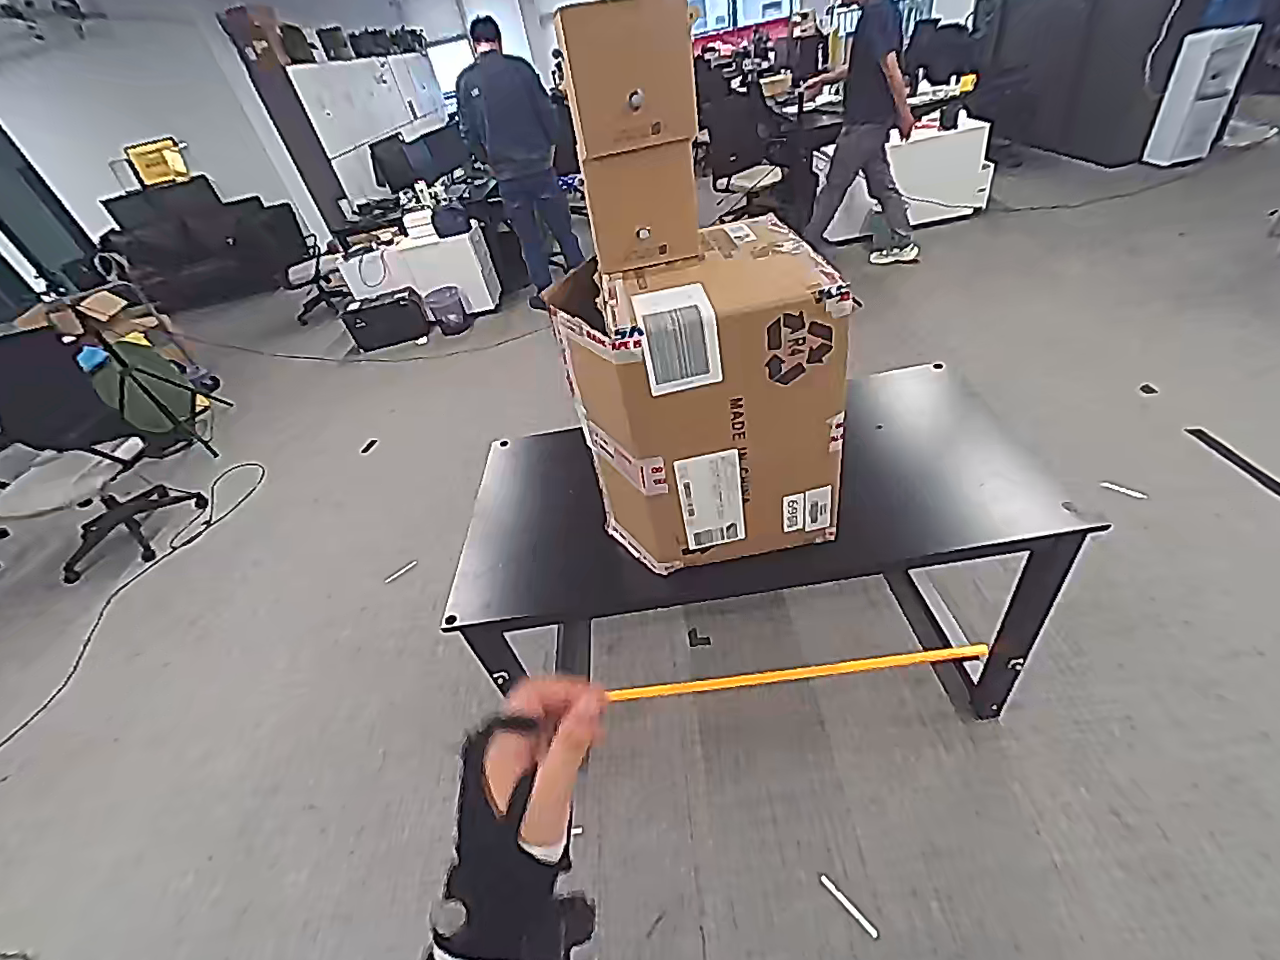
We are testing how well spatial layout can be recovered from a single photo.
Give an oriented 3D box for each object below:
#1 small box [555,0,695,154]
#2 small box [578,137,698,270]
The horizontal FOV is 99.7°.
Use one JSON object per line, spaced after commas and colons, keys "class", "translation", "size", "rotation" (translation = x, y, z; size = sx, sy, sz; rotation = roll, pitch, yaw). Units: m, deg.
{"class": "small box", "translation": [-0.023, -0.589, 0.790], "size": [0.168, 0.176, 0.179], "rotation": [-13, 37, -2]}
{"class": "small box", "translation": [-0.005, -0.464, 0.896], "size": [0.168, 0.176, 0.179], "rotation": [-12, 38, -1]}
